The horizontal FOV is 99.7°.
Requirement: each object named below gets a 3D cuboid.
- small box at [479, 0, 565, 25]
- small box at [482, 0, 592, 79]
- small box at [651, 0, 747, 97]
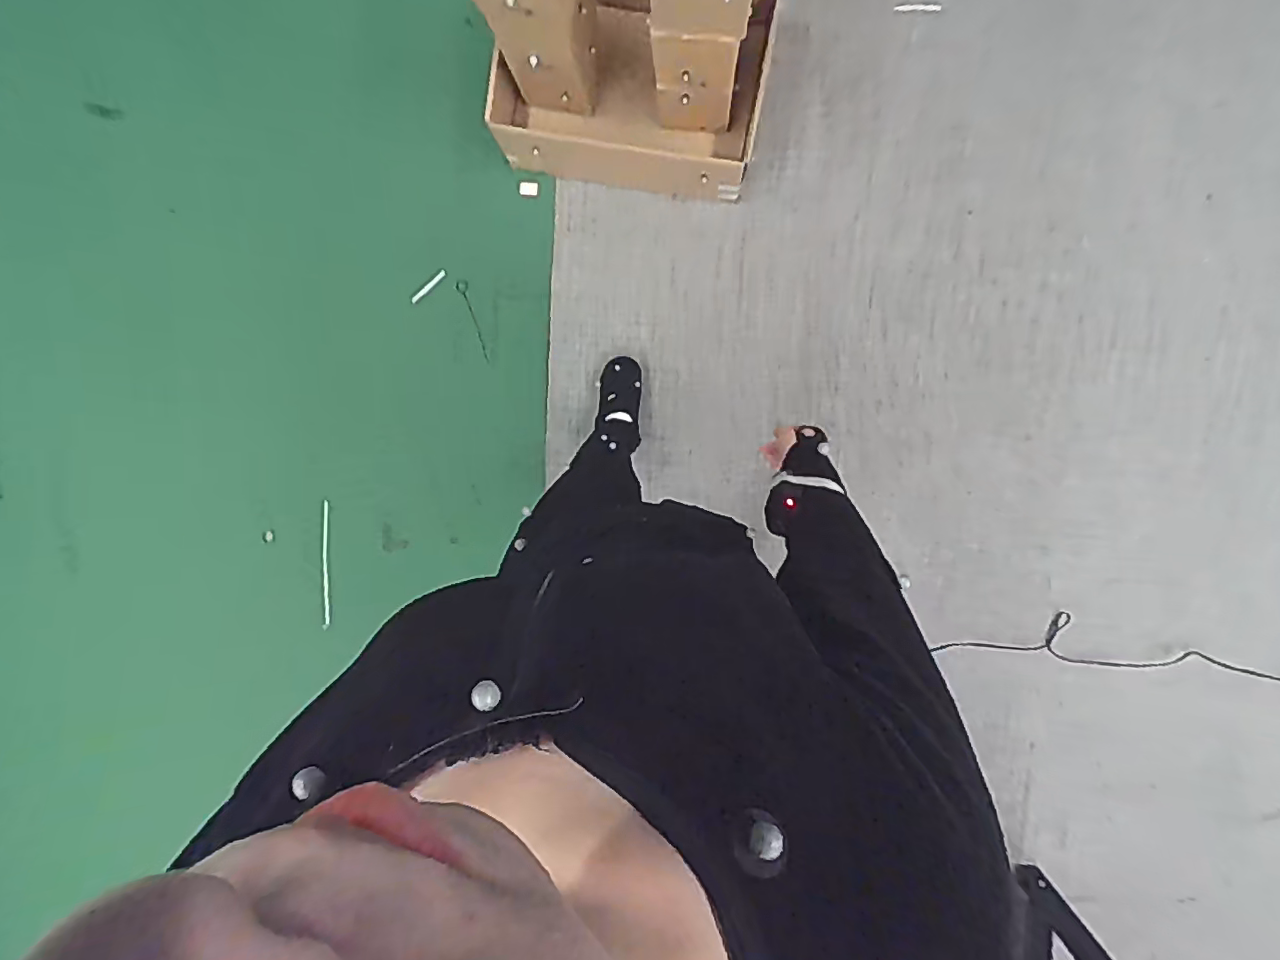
[{"bbox_3d":[-0.215,-0.948,0.931,0.168,0.176,0.179,12,97,3],"label":"small box"},{"bbox_3d":[-0.199,-0.969,1.094,0.168,0.176,0.179,14,98,2],"label":"small box"},{"bbox_3d":[0.120,-0.911,1.073,0.168,0.176,0.179,10,97,4],"label":"small box"}]
